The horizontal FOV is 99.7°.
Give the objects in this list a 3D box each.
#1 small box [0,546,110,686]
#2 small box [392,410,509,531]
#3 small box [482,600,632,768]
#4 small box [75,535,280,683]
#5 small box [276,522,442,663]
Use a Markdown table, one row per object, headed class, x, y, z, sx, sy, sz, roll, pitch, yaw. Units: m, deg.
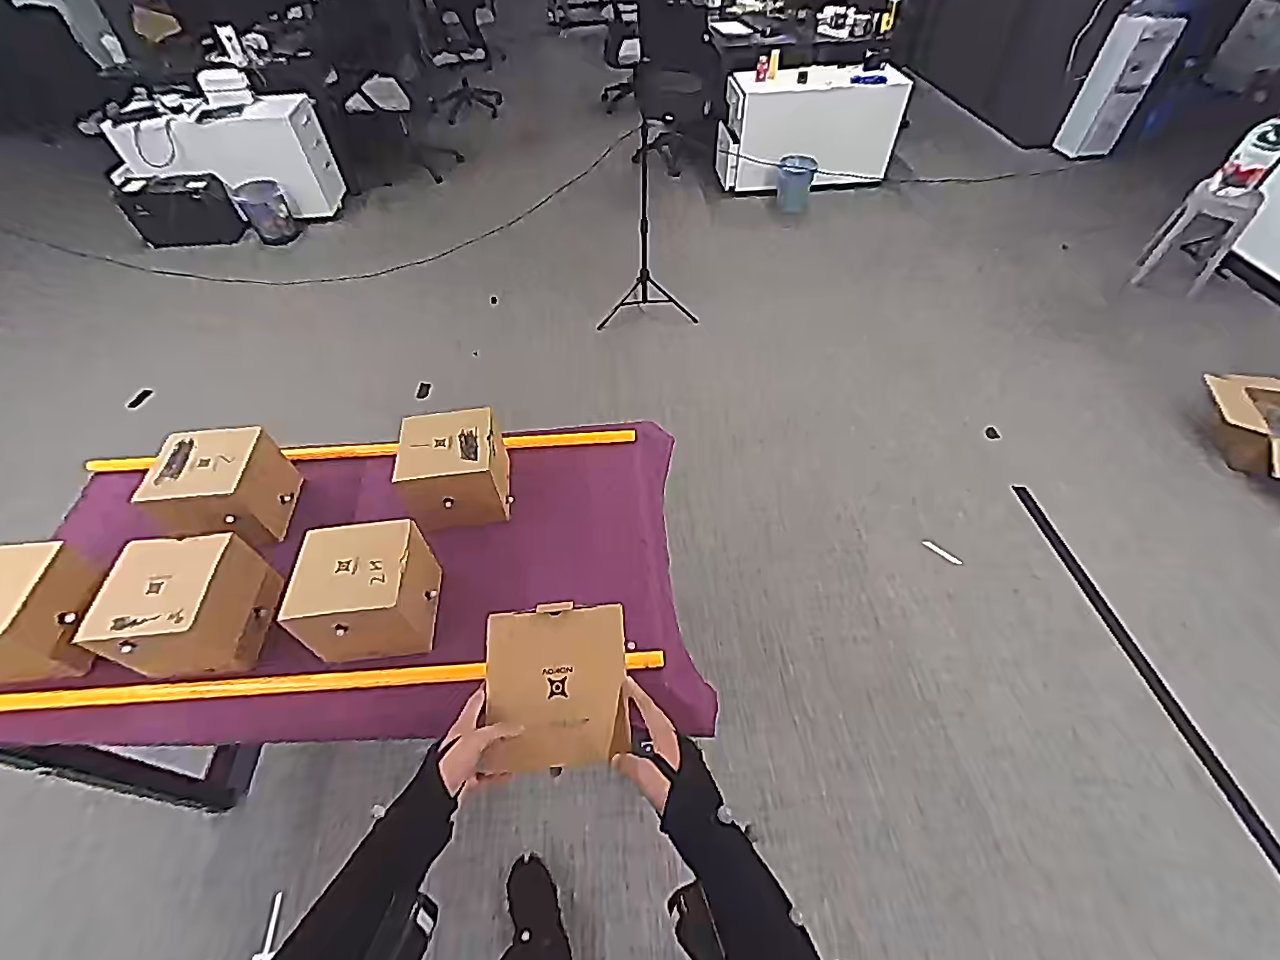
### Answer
| class | x | y | z | sx | sy | sz | roll | pitch | yaw |
| --- | --- | --- | --- | --- | --- | --- | --- | --- | --- |
| small box | -1.019 | 0.228 | 0.892 | 0.179 | 0.176 | 0.168 | -5 | 50 | -3 |
| small box | -0.363 | -0.016 | 1.073 | 0.179 | 0.176 | 0.168 | -8 | 52 | -3 |
| small box | -0.101 | 0.264 | 0.698 | 0.168 | 0.176 | 0.179 | -4 | 66 | -4 |
| small box | -0.740 | 0.215 | 0.896 | 0.168 | 0.176 | 0.179 | -6 | 50 | -1 |
| small box | -0.454 | 0.192 | 0.906 | 0.179 | 0.176 | 0.168 | -6 | 50 | -3 |
